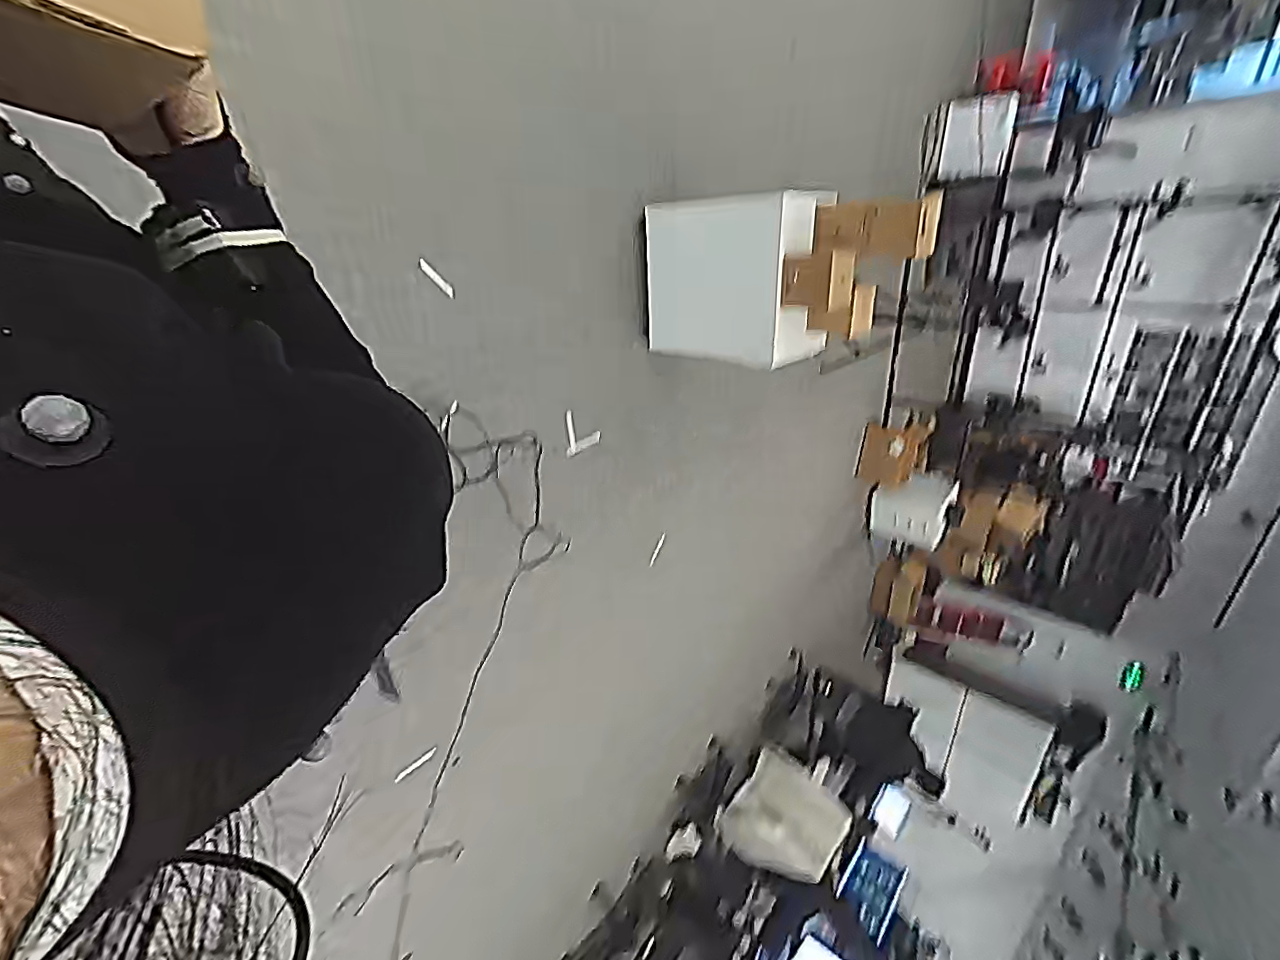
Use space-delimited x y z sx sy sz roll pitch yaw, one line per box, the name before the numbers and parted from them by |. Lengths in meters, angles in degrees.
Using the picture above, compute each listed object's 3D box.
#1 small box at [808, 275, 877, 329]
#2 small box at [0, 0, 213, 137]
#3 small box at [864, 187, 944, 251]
small box | 0.708 -0.626 1.899 0.179 0.176 0.168 -26 123 -41
small box | -0.325 -0.288 0.238 0.168 0.176 0.179 -13 110 -54
small box | 0.819 -0.812 1.687 0.179 0.176 0.168 -30 127 -39
